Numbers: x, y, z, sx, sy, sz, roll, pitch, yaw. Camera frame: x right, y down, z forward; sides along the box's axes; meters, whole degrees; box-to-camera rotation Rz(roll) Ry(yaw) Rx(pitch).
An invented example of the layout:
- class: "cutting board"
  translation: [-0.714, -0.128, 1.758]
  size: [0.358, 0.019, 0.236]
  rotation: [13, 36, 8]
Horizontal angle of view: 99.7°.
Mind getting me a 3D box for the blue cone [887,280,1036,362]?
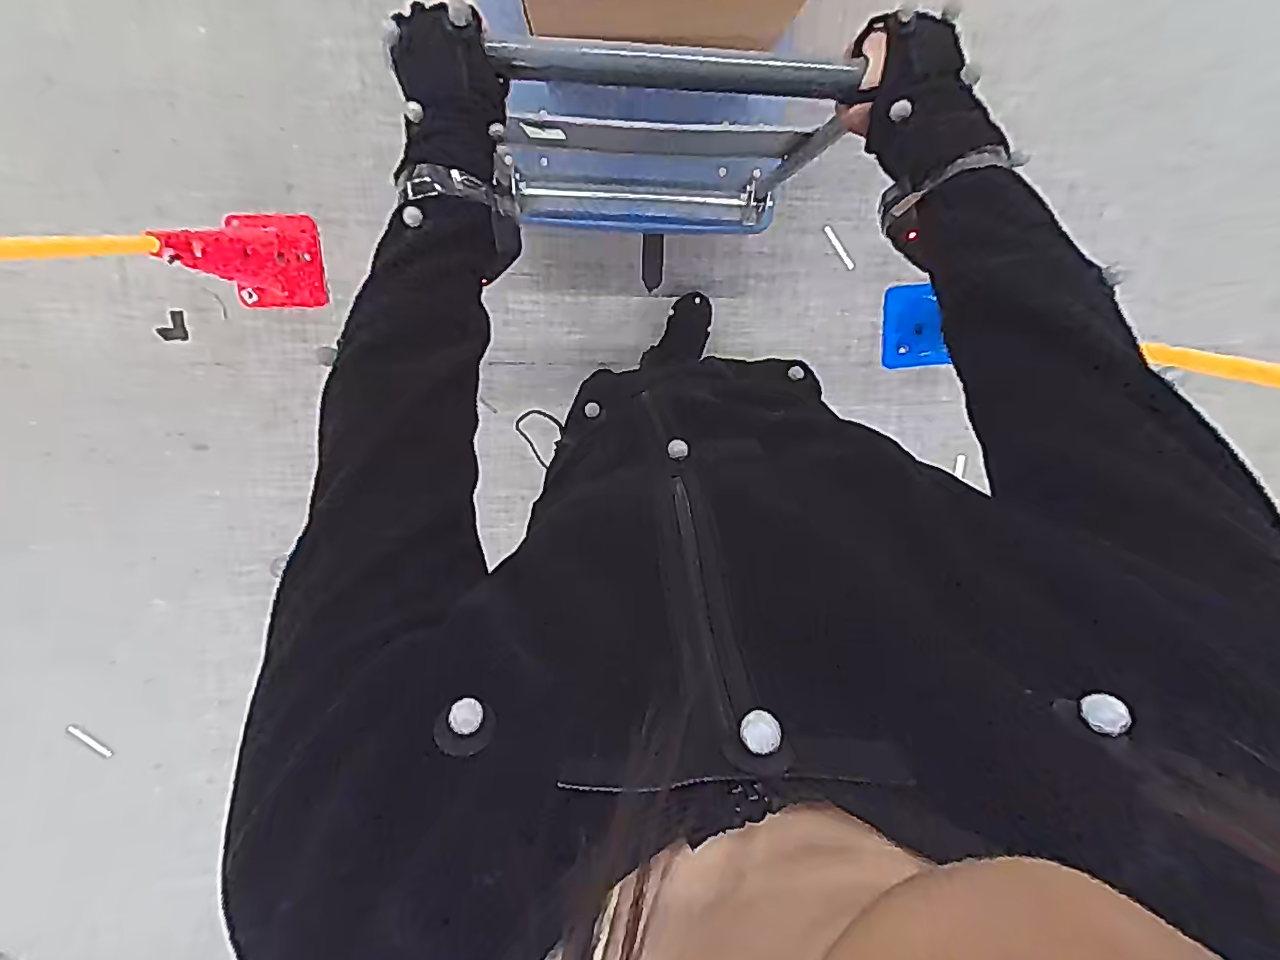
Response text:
- class: "blue cone"
  translation: [0.721, -0.351, 1.198]
  size: [0.193, 0.380, 0.192]
  rotation: [-4, 106, -2]
